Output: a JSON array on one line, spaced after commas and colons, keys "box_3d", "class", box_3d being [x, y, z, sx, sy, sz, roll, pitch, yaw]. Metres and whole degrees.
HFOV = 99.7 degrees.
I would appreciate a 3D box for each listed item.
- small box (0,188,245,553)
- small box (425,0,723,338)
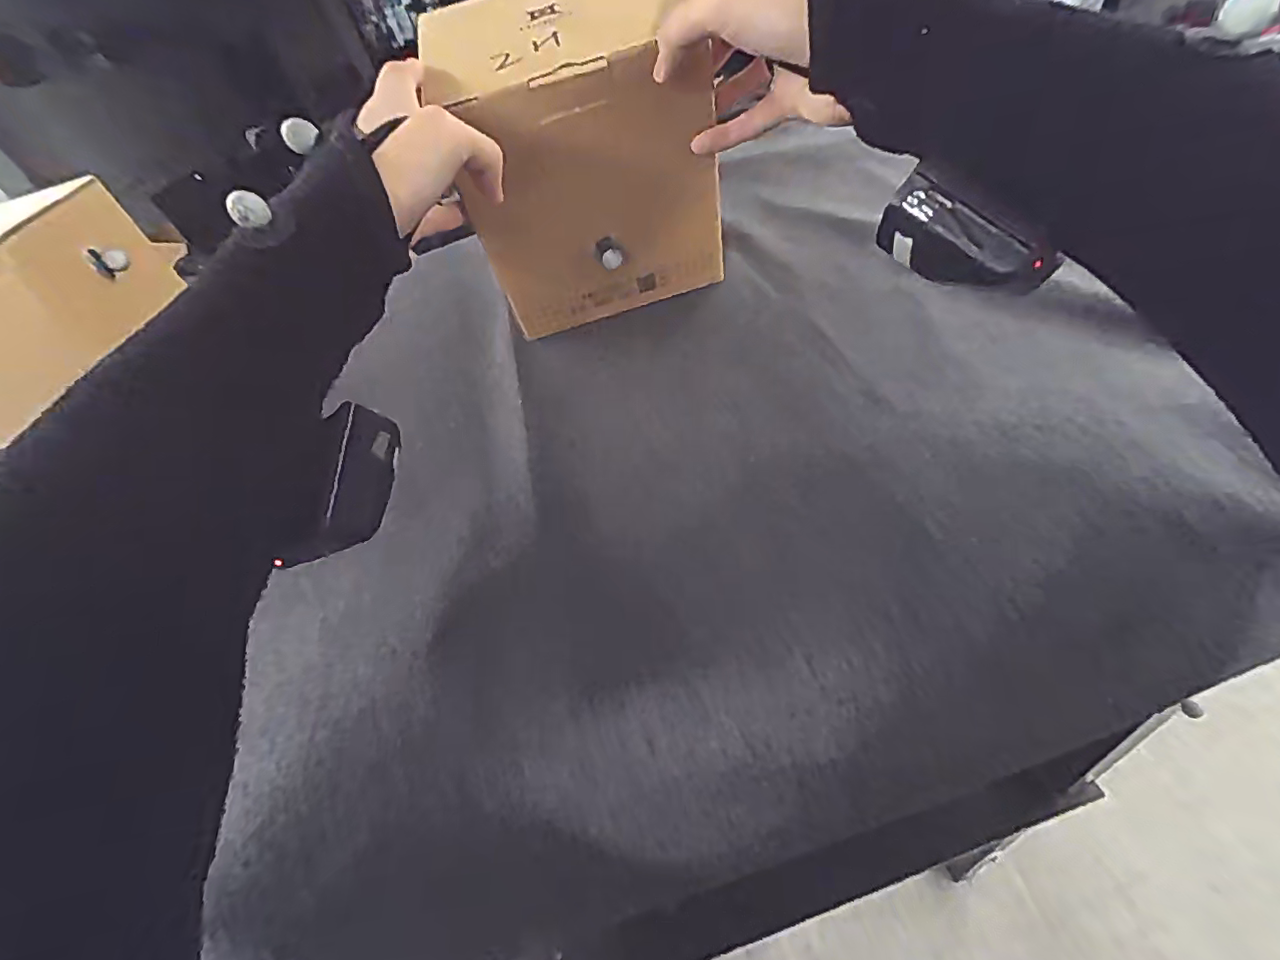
[{"box_3d": [-0.430, -0.081, 0.392, 0.168, 0.176, 0.179, -24, 45, -8], "class": "small box"}, {"box_3d": [-0.043, -0.240, 0.407, 0.168, 0.176, 0.179, -18, 56, 0], "class": "small box"}]
